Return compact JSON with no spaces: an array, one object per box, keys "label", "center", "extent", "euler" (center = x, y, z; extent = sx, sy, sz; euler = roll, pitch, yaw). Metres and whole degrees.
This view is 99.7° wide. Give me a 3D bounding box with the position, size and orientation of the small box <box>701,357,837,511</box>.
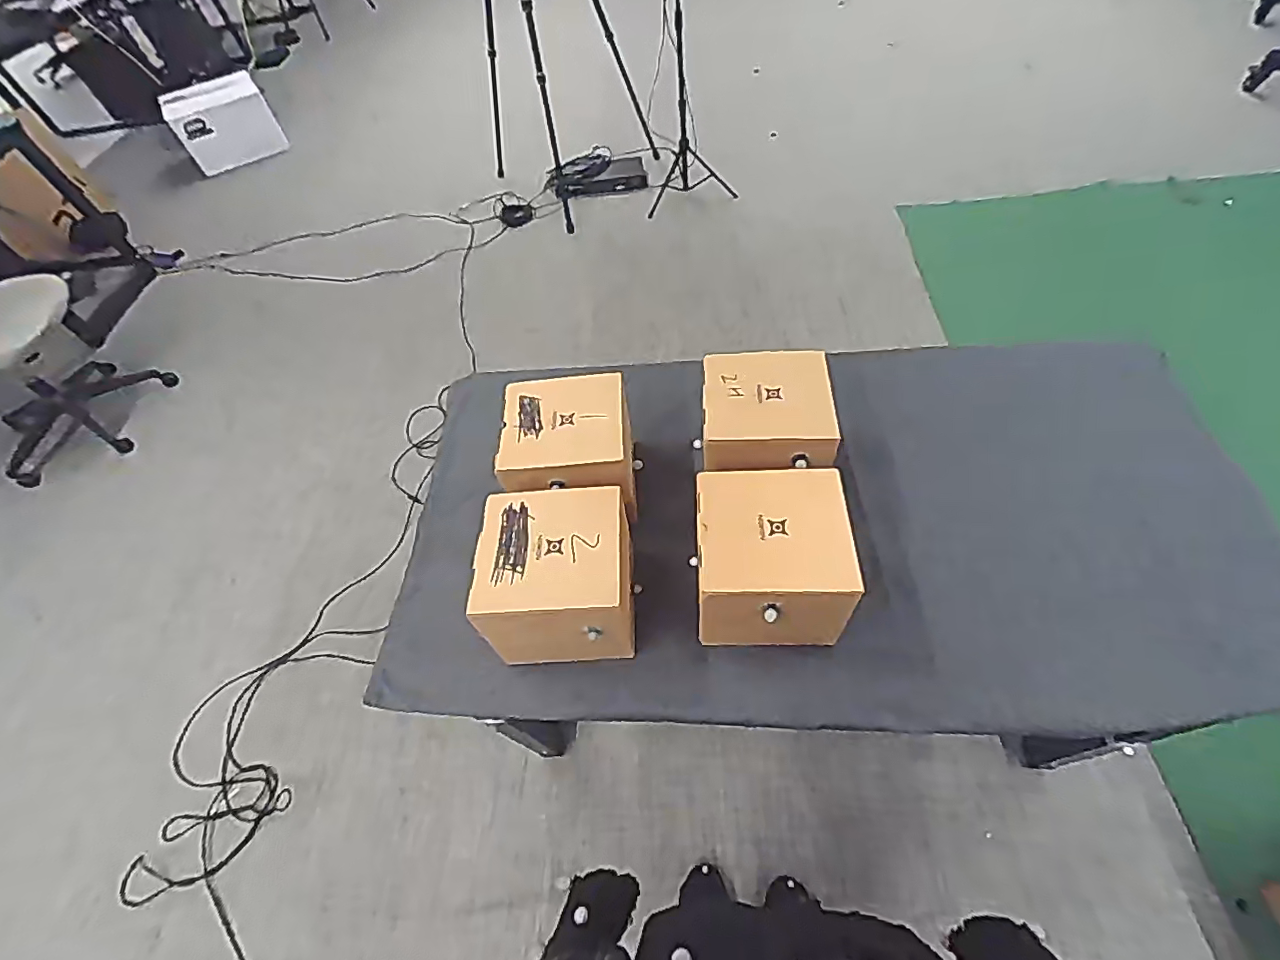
[{"label":"small box","center":[0.181,-0.064,0.809],"extent":[0.179,0.176,0.168],"euler":[-1,55,7]}]
